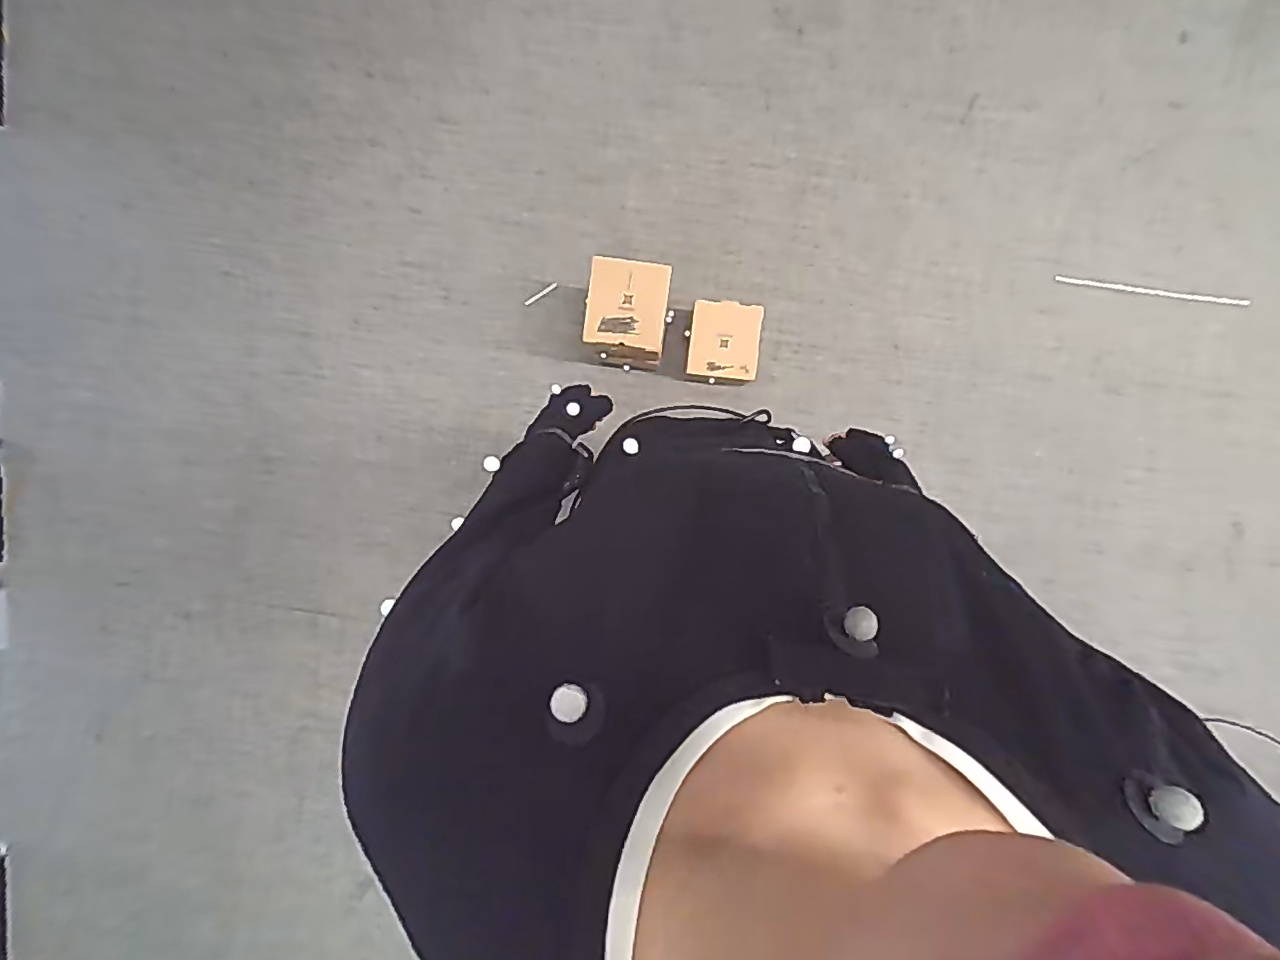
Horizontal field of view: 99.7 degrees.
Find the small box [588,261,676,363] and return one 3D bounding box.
[{"bbox_3d":[-0.013,-0.358,1.187,0.168,0.176,0.179,8,96,2],"label":"small box"}]
